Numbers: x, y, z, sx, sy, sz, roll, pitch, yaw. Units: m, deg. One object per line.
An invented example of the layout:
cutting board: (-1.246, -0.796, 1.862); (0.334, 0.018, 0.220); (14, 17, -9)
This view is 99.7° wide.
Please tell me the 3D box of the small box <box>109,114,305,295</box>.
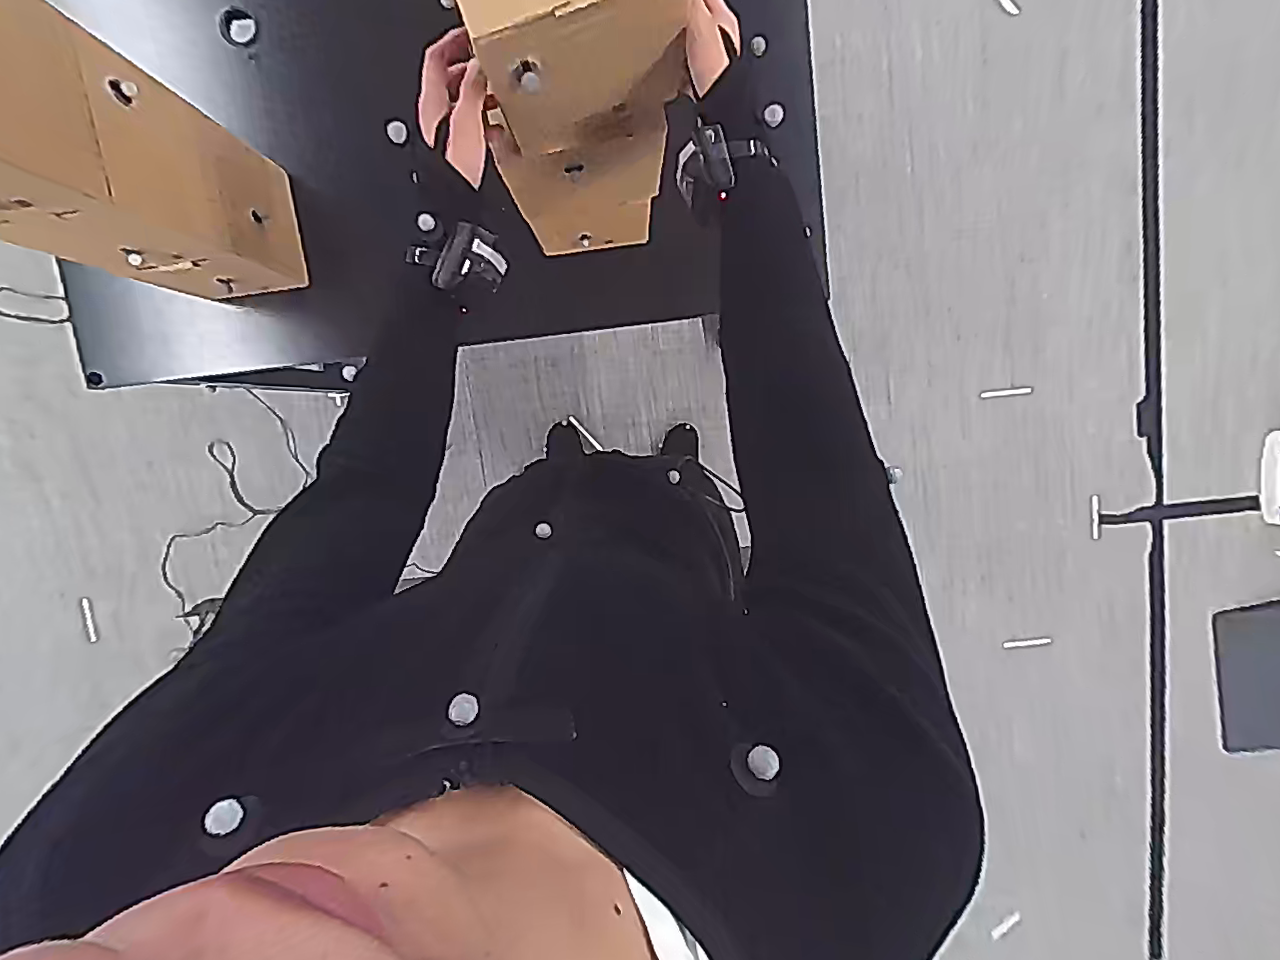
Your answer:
small box: (-0.608, -0.368, 0.758); (0.168, 0.176, 0.179); (-9, 97, 0)

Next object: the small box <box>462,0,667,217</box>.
small box: (-0.072, -0.414, 0.598); (0.179, 0.176, 0.168); (-11, 97, 0)

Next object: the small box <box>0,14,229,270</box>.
small box: (-0.605, -0.350, 0.594); (0.168, 0.176, 0.179); (-8, 97, 0)

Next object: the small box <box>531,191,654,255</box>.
small box: (-0.076, -0.439, 0.761); (0.168, 0.176, 0.179); (-8, 97, 0)

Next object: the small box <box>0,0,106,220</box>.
small box: (-0.600, -0.331, 0.432); (0.168, 0.176, 0.179); (-8, 97, 1)
